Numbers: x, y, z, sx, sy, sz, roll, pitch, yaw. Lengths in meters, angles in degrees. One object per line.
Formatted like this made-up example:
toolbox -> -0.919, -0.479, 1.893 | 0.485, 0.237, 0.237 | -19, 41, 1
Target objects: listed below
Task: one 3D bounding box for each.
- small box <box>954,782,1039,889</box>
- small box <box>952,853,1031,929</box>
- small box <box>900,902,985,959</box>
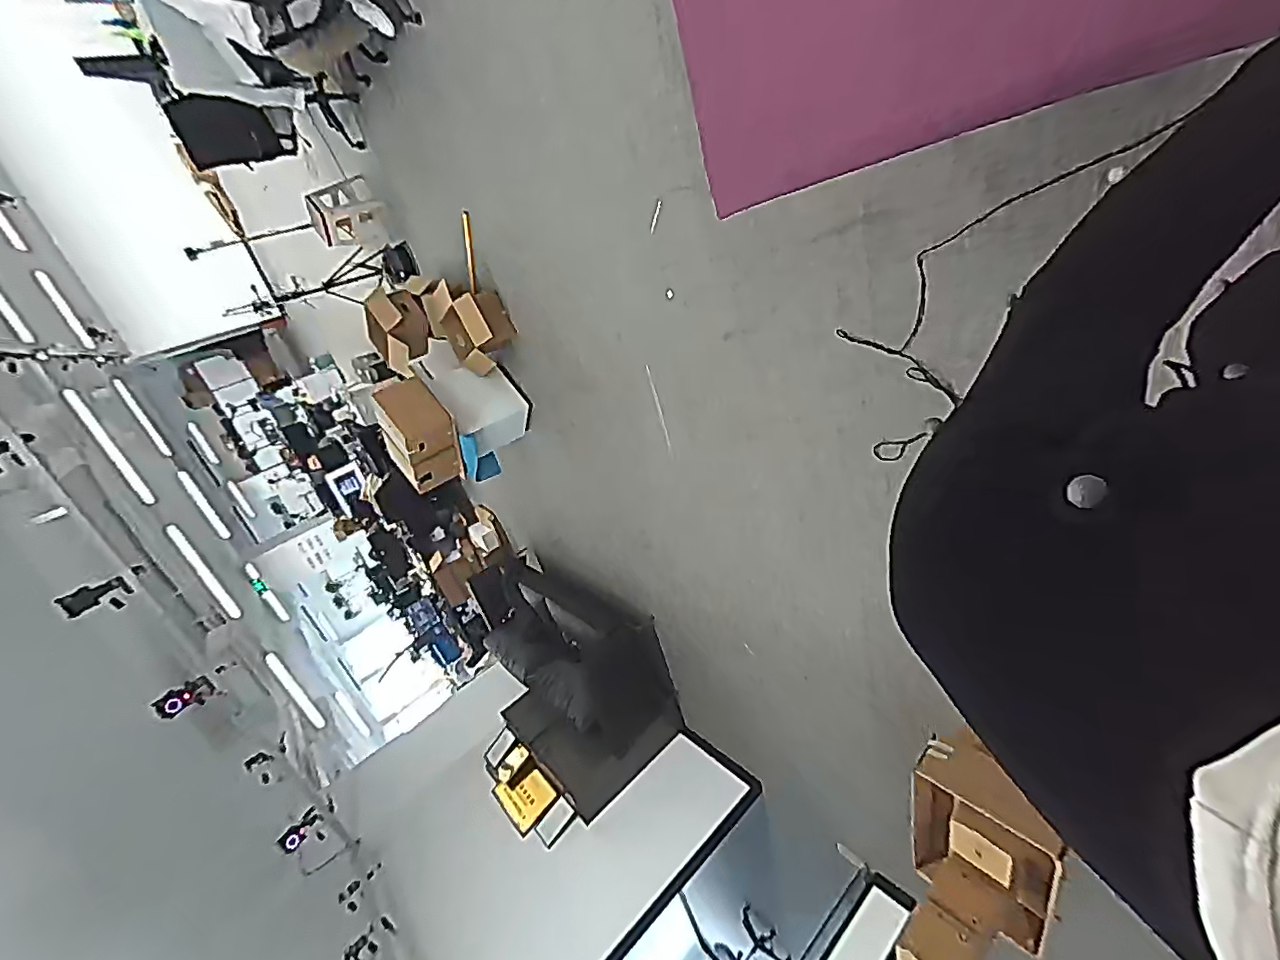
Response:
small box -> 1.077, 1.070, 1.636 | 0.168, 0.176, 0.179 | 20, 135, 48
small box -> 1.141, 1.284, 1.756 | 0.168, 0.176, 0.179 | 19, 130, 49
small box -> 0.886, 1.402, 1.583 | 0.168, 0.176, 0.179 | 16, 128, 51
